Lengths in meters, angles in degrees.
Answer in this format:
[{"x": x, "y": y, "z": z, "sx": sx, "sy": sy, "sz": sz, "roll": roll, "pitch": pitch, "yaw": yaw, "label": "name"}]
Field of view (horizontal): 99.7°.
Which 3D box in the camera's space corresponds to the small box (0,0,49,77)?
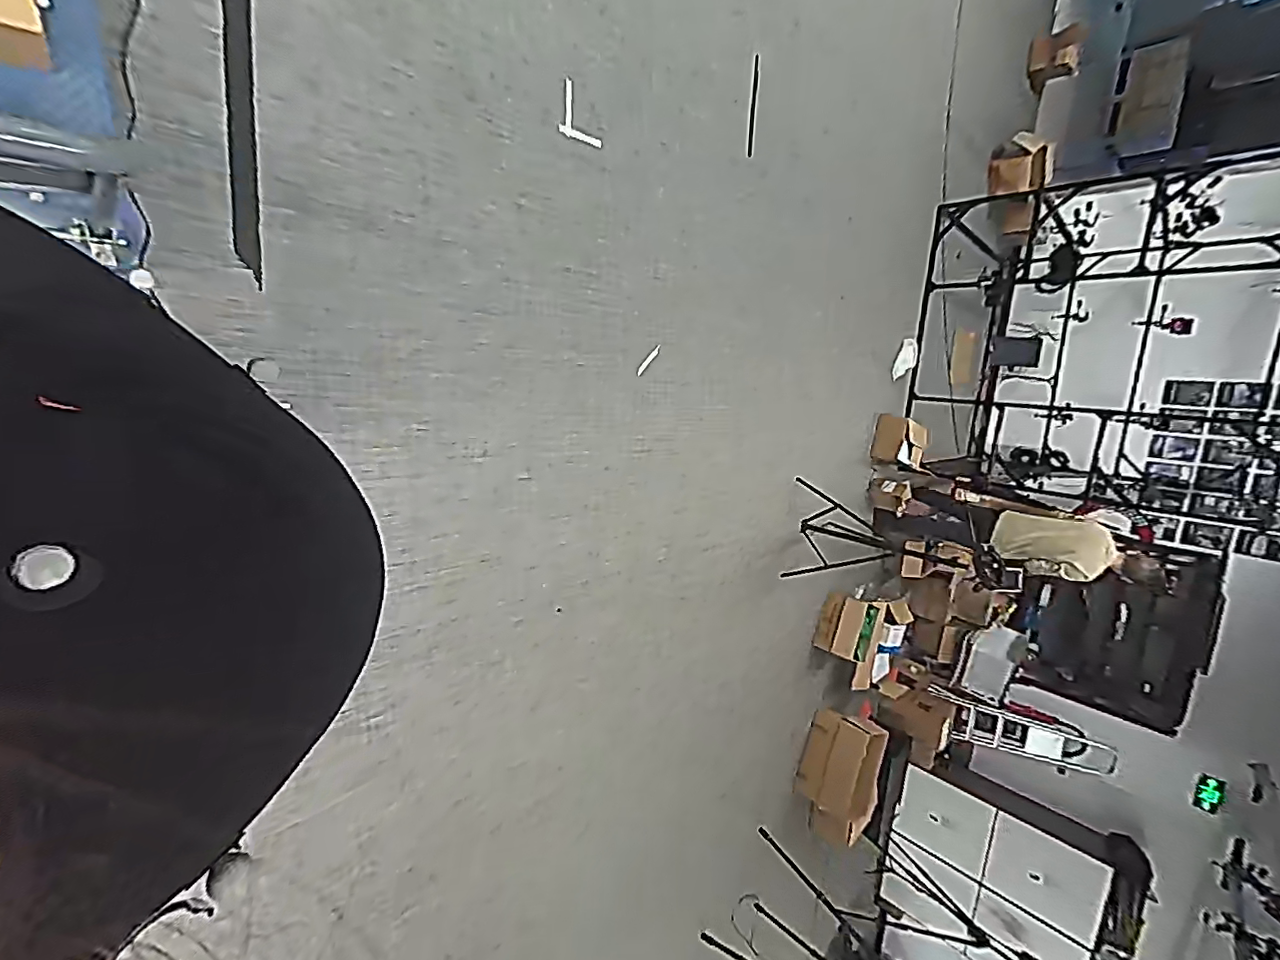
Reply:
[{"x": -0.931, "y": -0.670, "z": 0.713, "sx": 0.179, "sy": 0.176, "sz": 0.168, "roll": -16, "pitch": 111, "yaw": -43, "label": "small box"}]
